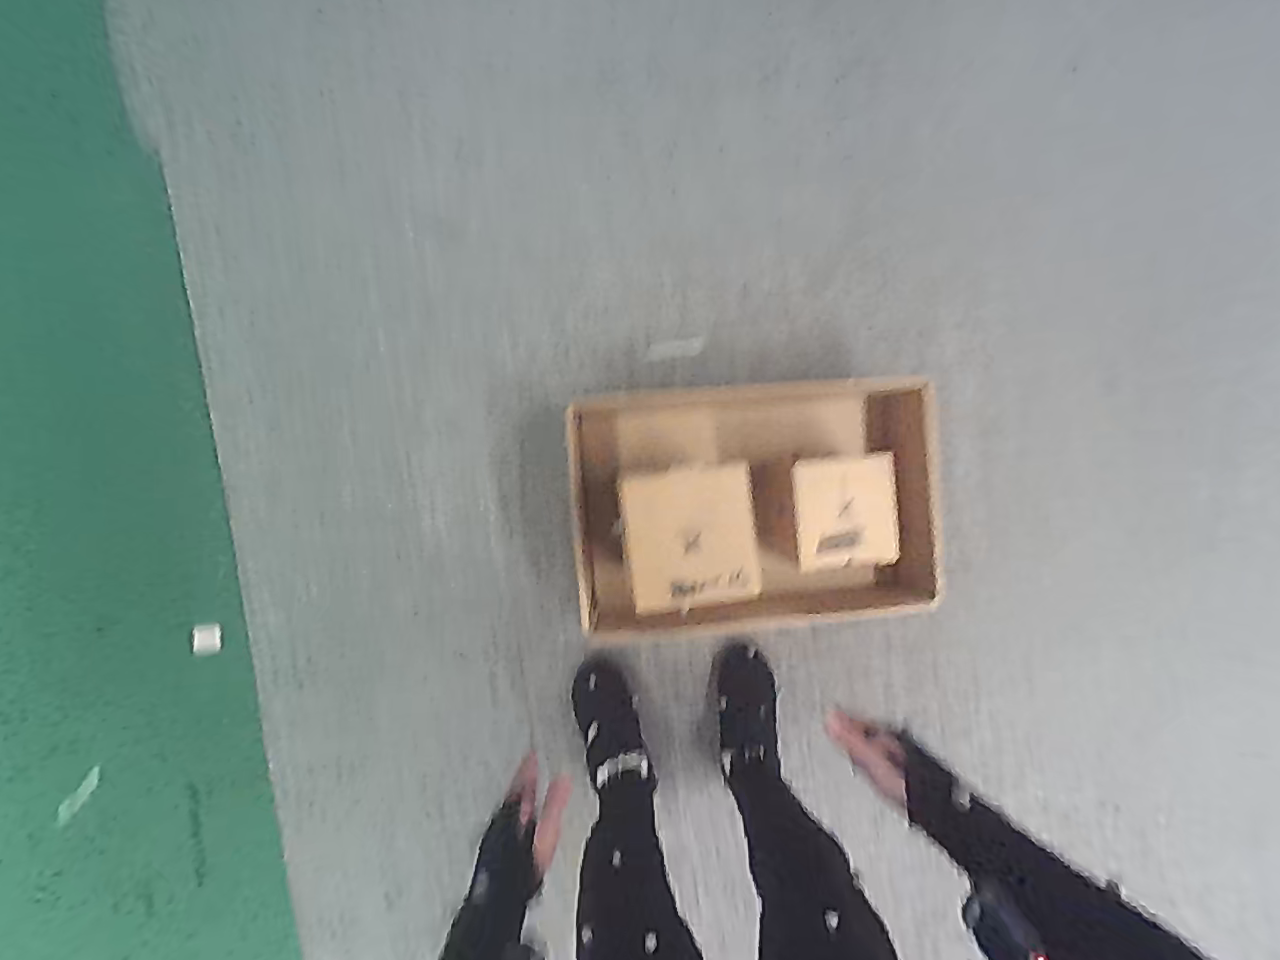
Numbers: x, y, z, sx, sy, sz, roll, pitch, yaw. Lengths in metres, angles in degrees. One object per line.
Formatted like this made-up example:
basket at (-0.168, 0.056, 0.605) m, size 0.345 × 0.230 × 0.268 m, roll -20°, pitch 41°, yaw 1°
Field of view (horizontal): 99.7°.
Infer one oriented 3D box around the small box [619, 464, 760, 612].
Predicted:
small box at (0.060, 0.076, 0.774) m, size 0.168 × 0.176 × 0.179 m, roll -7°, pitch 90°, yaw -3°
